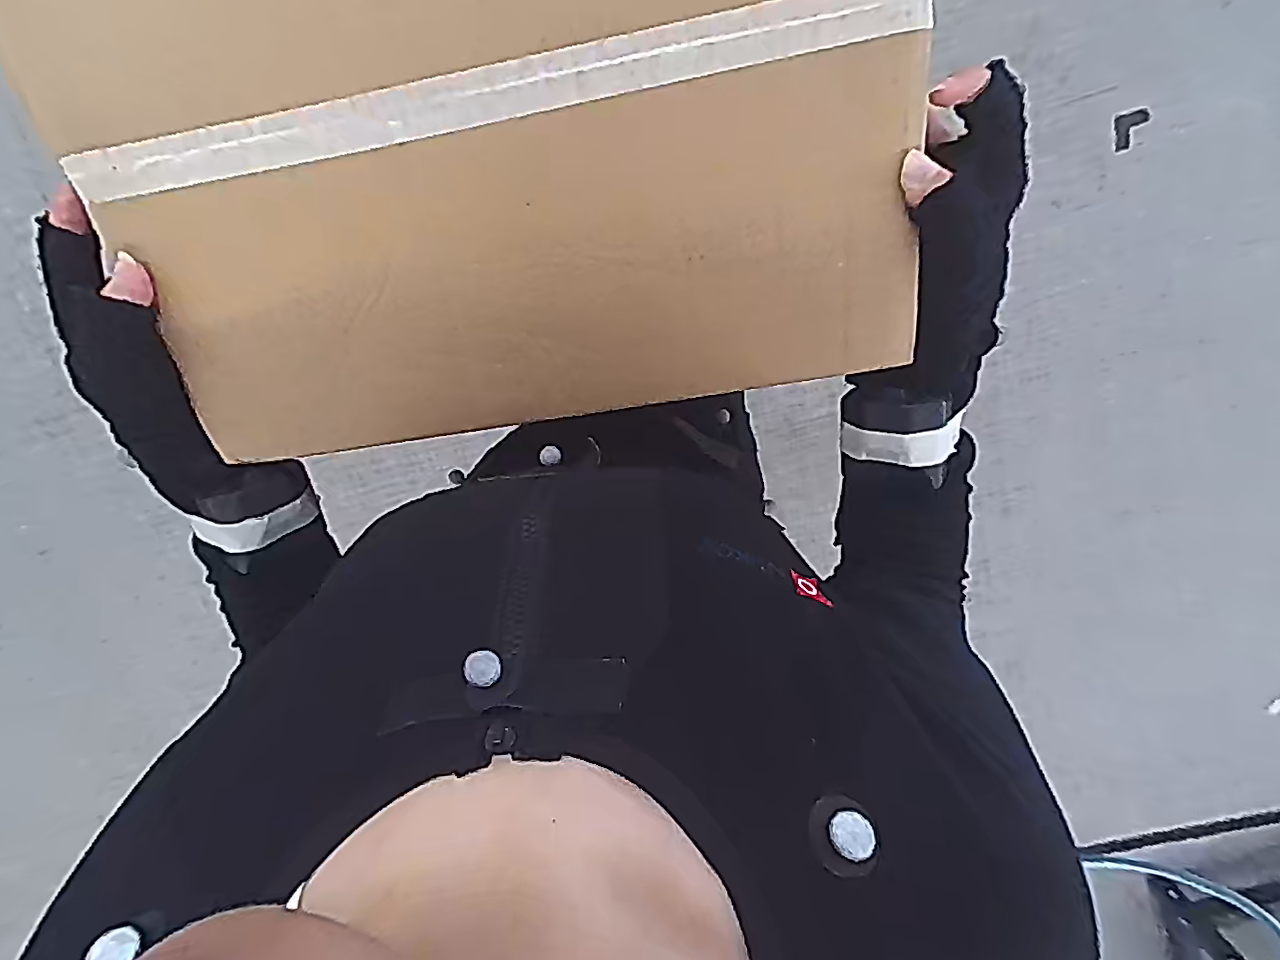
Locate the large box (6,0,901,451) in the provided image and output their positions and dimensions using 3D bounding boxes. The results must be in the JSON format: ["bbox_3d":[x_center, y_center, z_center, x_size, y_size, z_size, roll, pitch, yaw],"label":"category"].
[{"bbox_3d":[-0.073,-0.247,0.391,0.408,0.320,0.320,-8,115,5],"label":"large box"}]
